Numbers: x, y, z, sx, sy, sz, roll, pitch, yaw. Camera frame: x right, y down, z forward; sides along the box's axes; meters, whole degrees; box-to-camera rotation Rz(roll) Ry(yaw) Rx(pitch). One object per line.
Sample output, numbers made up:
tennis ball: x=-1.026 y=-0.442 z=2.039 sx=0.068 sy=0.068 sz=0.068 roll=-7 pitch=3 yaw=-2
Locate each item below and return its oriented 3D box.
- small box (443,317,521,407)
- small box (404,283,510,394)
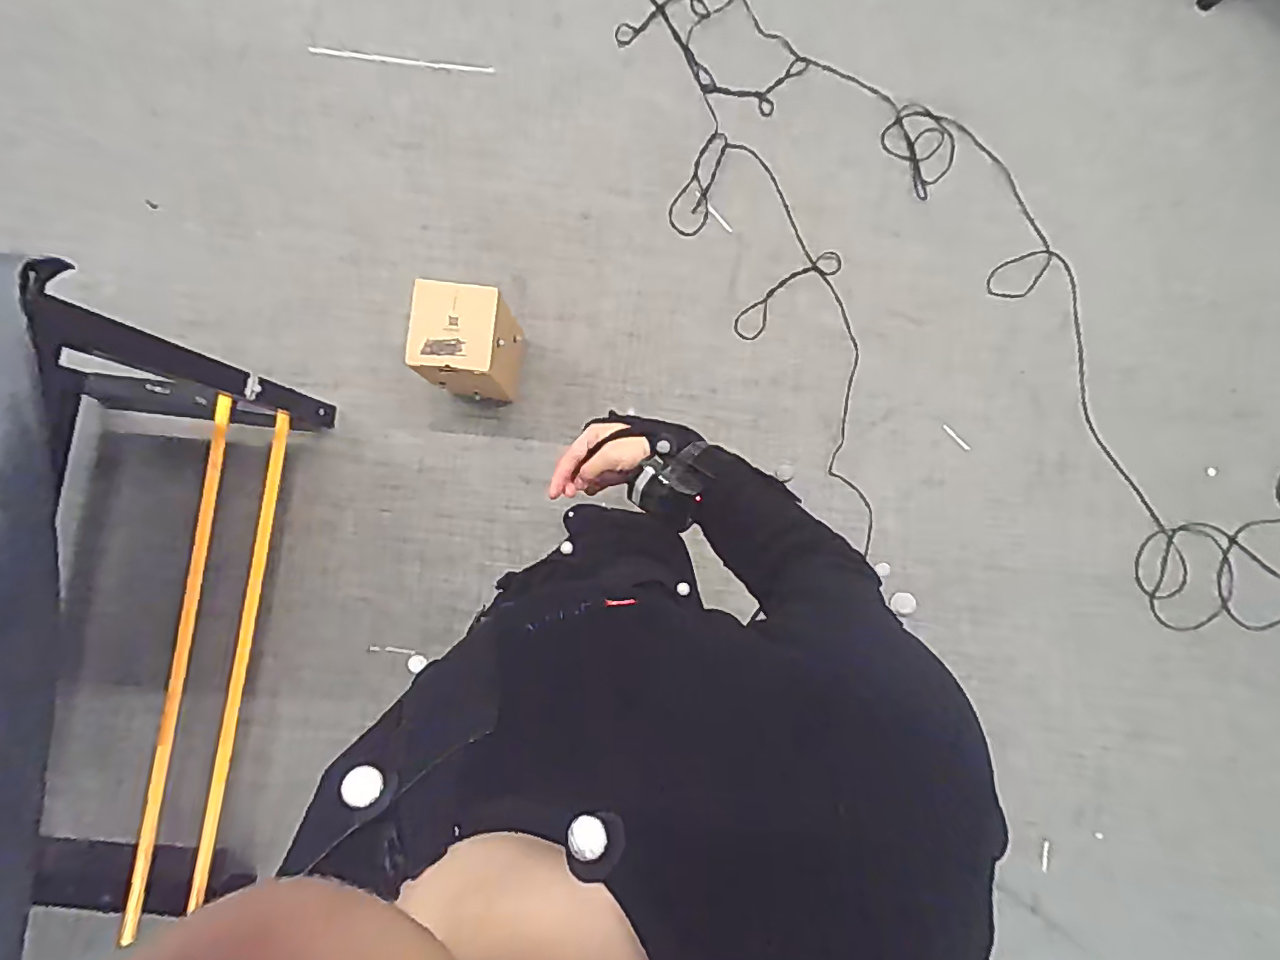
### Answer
small box: x=-0.387 y=-0.287 z=1.298 sx=0.168 sy=0.176 sz=0.179 roll=7 pitch=84 yaw=-2
small box: x=-0.374 y=-0.287 z=1.135 sx=0.168 sy=0.176 sz=0.179 roll=5 pitch=85 yaw=-3
